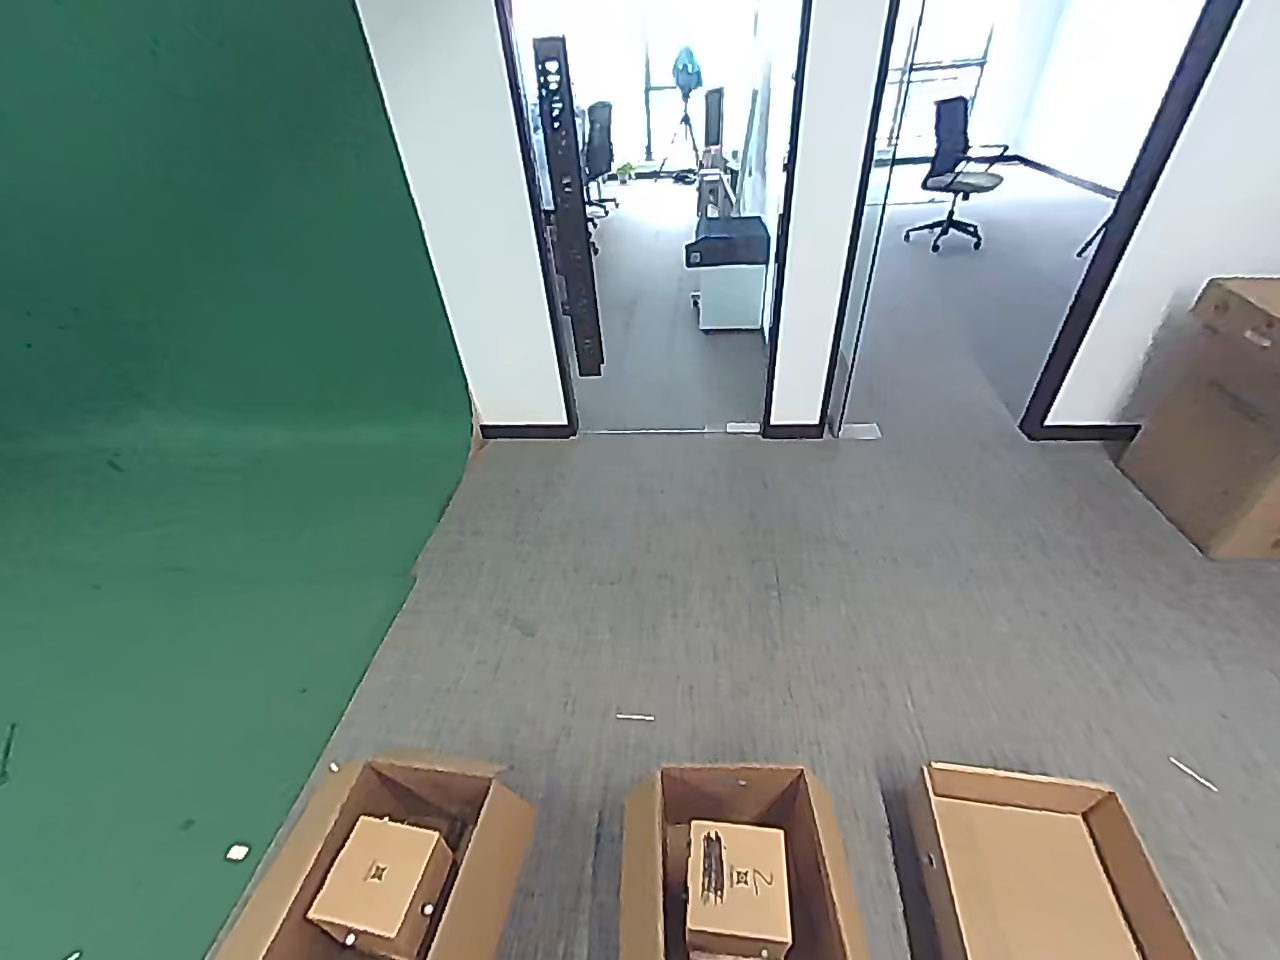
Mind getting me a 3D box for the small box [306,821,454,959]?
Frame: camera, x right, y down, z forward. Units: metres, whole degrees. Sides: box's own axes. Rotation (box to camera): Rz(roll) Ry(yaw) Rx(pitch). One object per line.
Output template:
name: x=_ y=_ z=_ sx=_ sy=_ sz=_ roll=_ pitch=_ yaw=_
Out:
small box: x=-0.484 y=0.795 z=1.041 sx=0.179 sy=0.176 sz=0.168 roll=5 pitch=38 yaw=10
